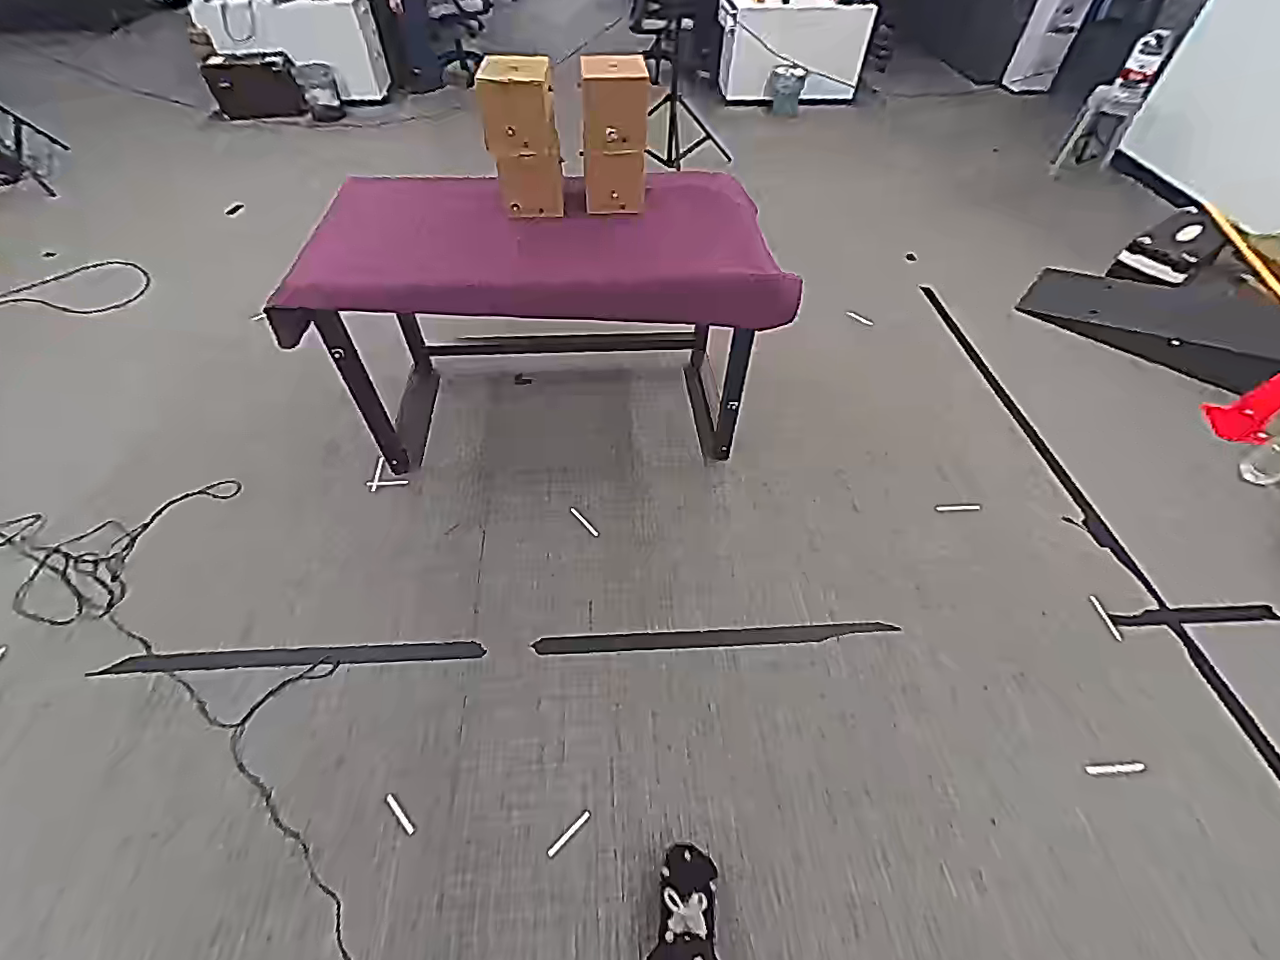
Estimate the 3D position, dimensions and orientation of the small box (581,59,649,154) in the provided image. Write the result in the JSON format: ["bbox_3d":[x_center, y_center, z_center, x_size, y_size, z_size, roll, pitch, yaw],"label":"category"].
[{"bbox_3d":[-0.068,-0.991,1.437,0.168,0.176,0.179,-5,53,-4],"label":"small box"}]

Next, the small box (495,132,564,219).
[{"bbox_3d":[-0.305,-0.861,1.535,0.168,0.176,0.179,-2,51,-4],"label":"small box"}]

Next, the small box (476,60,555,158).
[{"bbox_3d":[-0.316,-0.966,1.410,0.168,0.176,0.179,0,53,-2],"label":"small box"}]

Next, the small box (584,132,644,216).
[{"bbox_3d":[-0.076,-0.886,1.561,0.168,0.176,0.179,-3,52,-3],"label":"small box"}]
